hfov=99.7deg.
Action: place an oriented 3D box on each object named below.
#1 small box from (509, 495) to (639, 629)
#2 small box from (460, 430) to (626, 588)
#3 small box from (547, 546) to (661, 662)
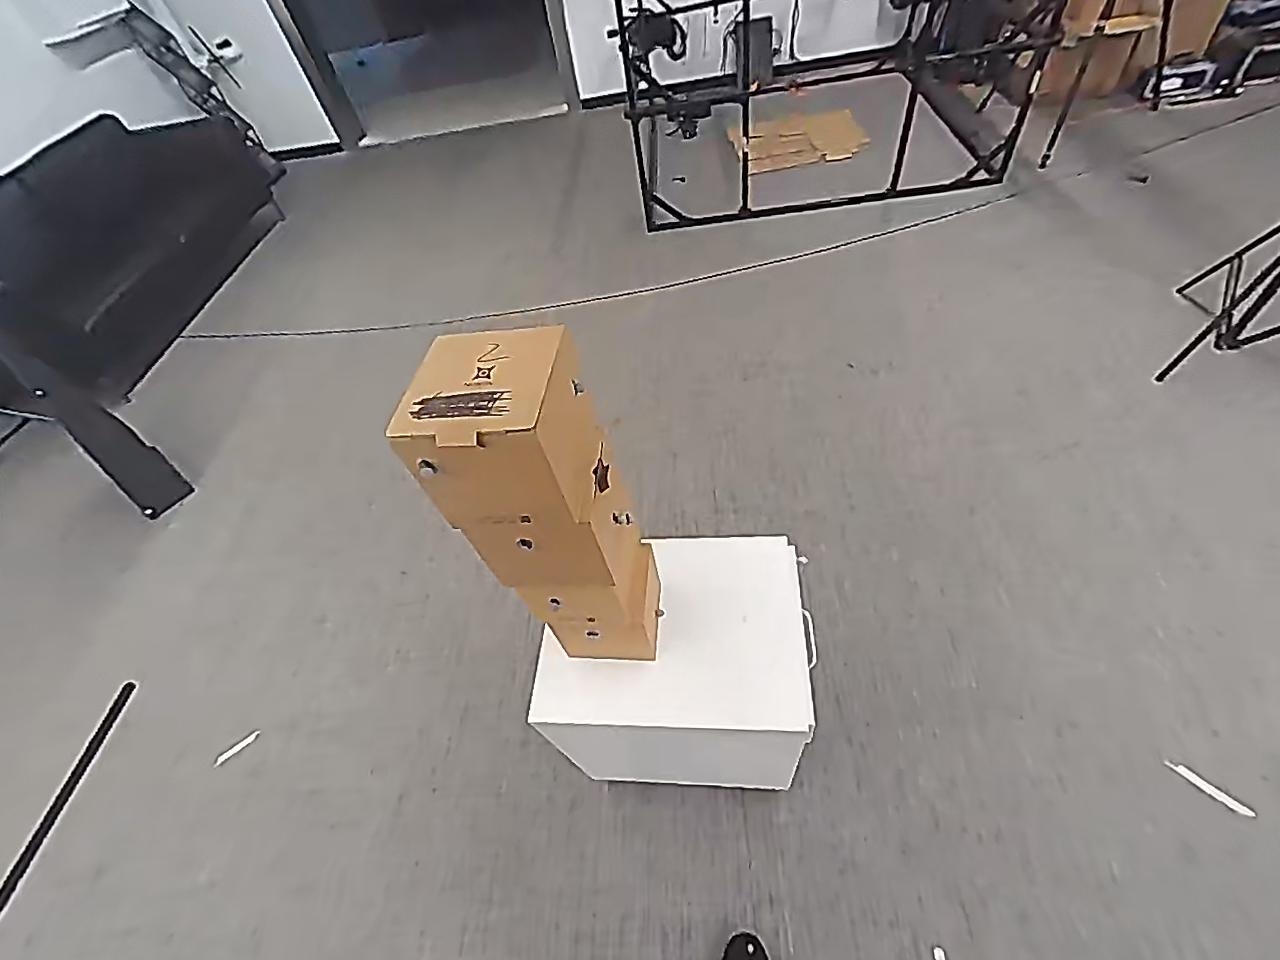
[{"bbox_3d":[-0.100,0.139,0.917,0.168,0.176,0.179,1,51,11],"label":"small box"},{"bbox_3d":[-0.126,0.047,0.782,0.179,0.176,0.168,-2,51,9],"label":"small box"},{"bbox_3d":[-0.060,0.240,1.039,0.179,0.176,0.168,0,52,9],"label":"small box"}]
